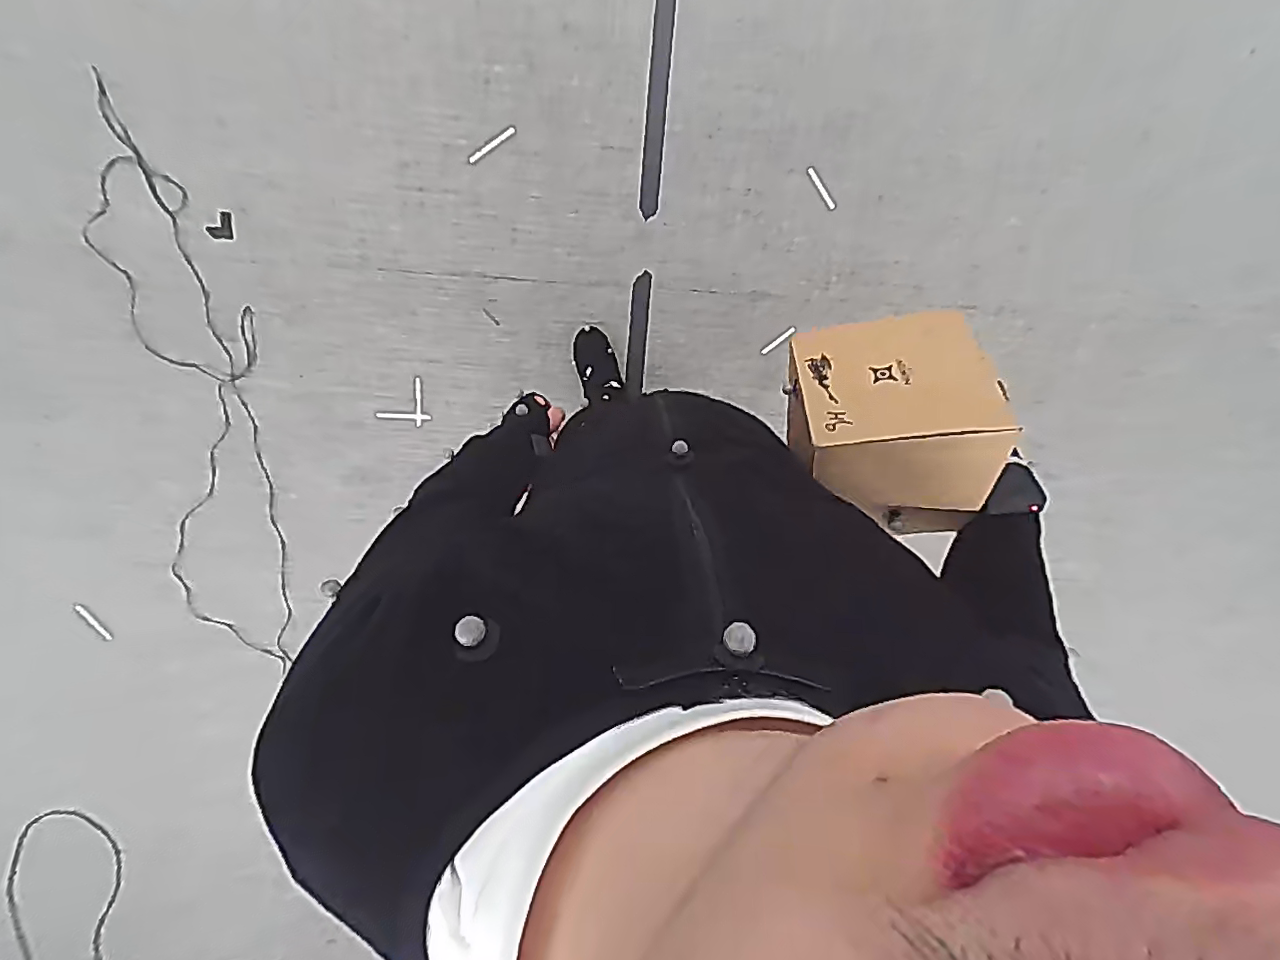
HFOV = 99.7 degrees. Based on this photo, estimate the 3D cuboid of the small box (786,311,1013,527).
[{"bbox_3d":[0.264,-0.061,0.602,0.179,0.168,0.176,-4,142,9],"label":"small box"}]
